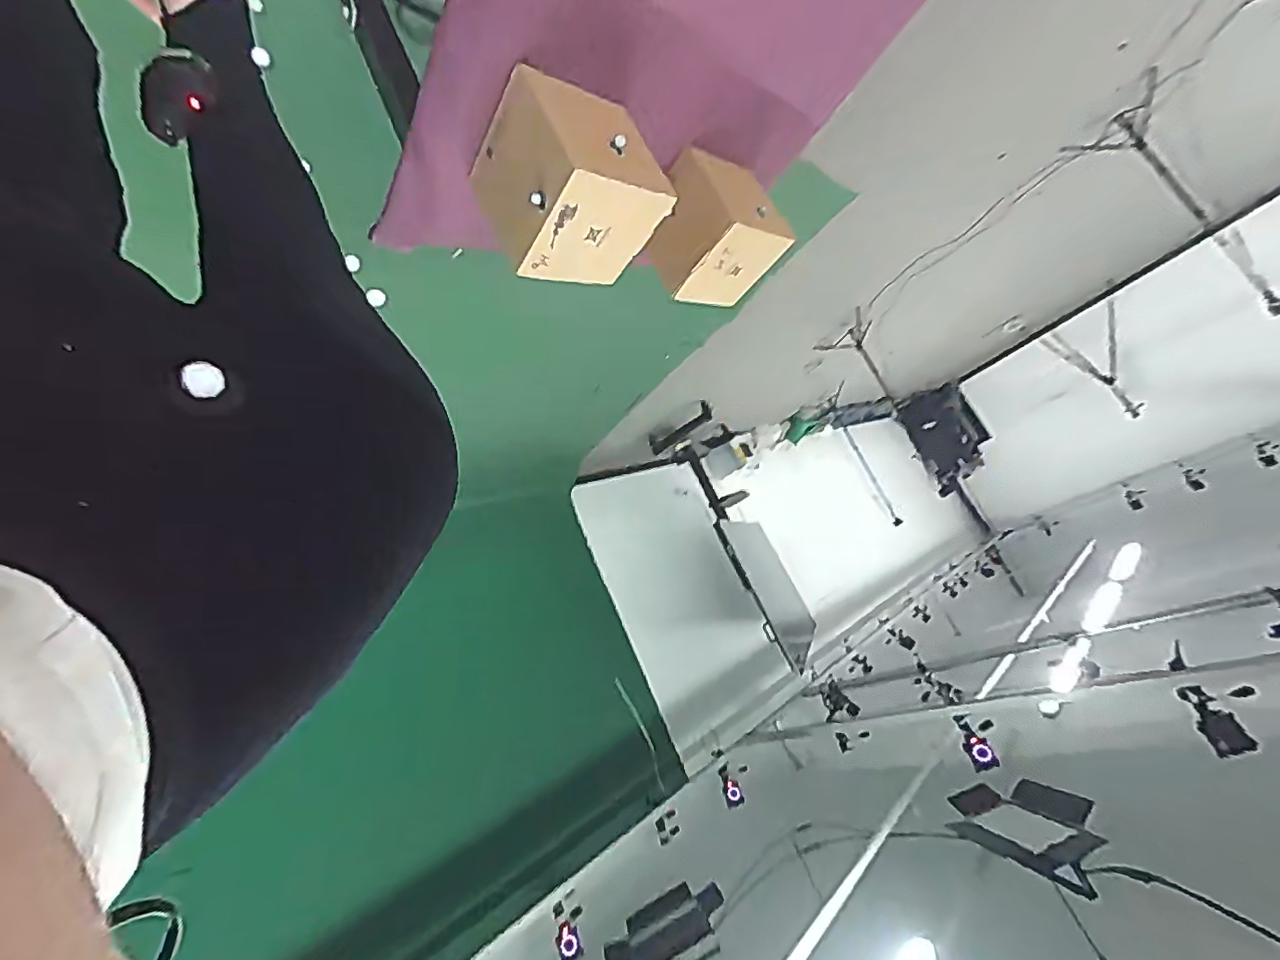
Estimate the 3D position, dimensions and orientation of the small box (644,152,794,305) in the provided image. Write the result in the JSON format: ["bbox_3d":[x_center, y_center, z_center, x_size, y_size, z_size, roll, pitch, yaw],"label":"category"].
[{"bbox_3d":[0.128,-0.432,0.945,0.179,0.176,0.168,-11,157,-43],"label":"small box"}]

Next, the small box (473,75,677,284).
[{"bbox_3d":[-0.090,-0.389,0.722,0.179,0.176,0.168,-15,161,-44],"label":"small box"}]
